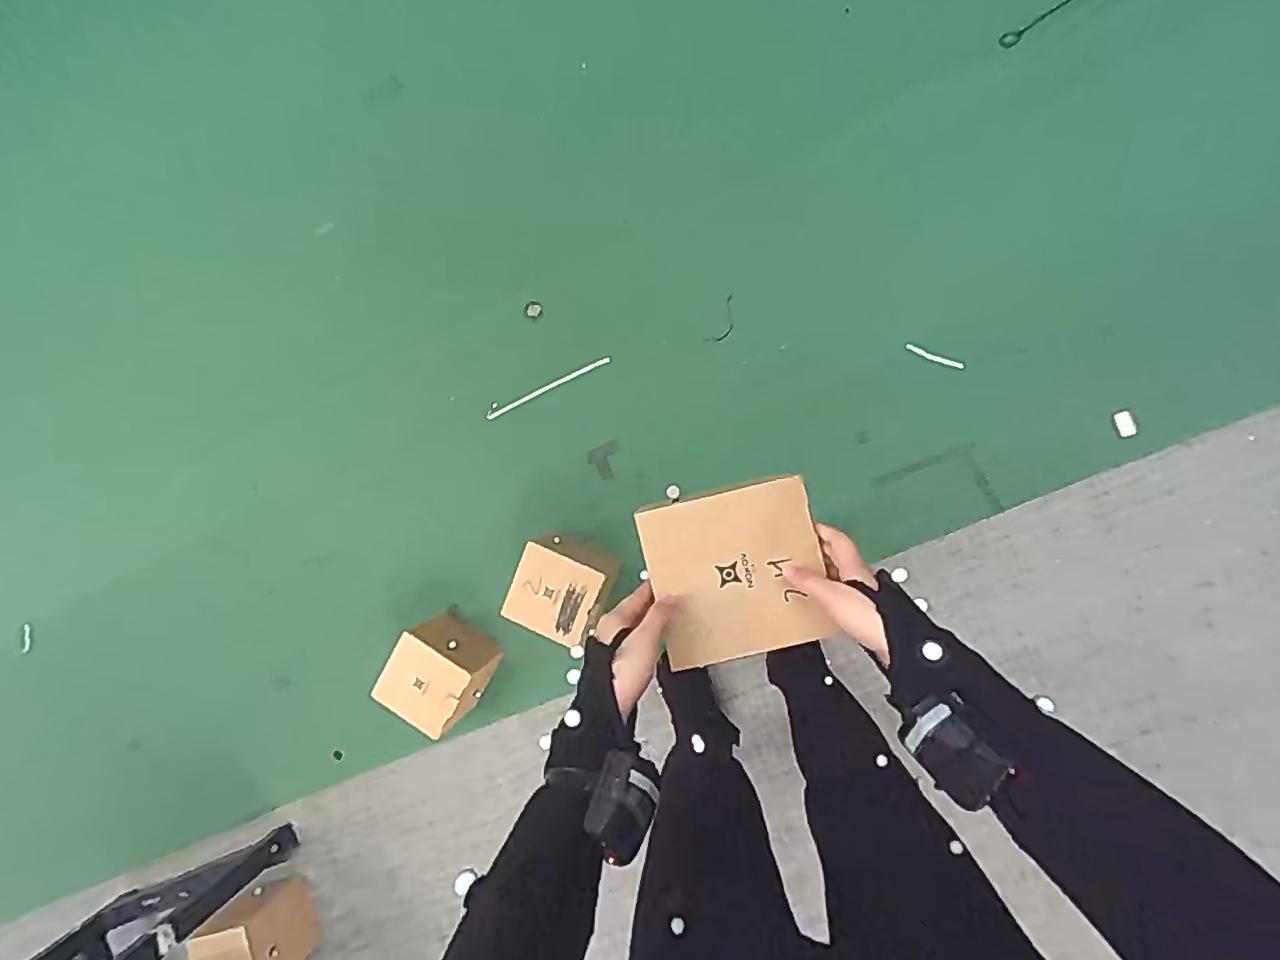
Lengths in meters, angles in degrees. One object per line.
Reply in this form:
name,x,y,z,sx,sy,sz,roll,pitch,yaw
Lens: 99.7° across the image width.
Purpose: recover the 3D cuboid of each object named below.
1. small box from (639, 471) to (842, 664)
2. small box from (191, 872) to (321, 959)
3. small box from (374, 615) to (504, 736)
small box,0.105,0.089,0.622,0.179,0.176,0.168,-14,91,3
small box,-0.904,1.090,1.289,0.168,0.176,0.179,-20,87,8
small box,-0.437,0.420,1.201,0.179,0.176,0.168,30,96,6
